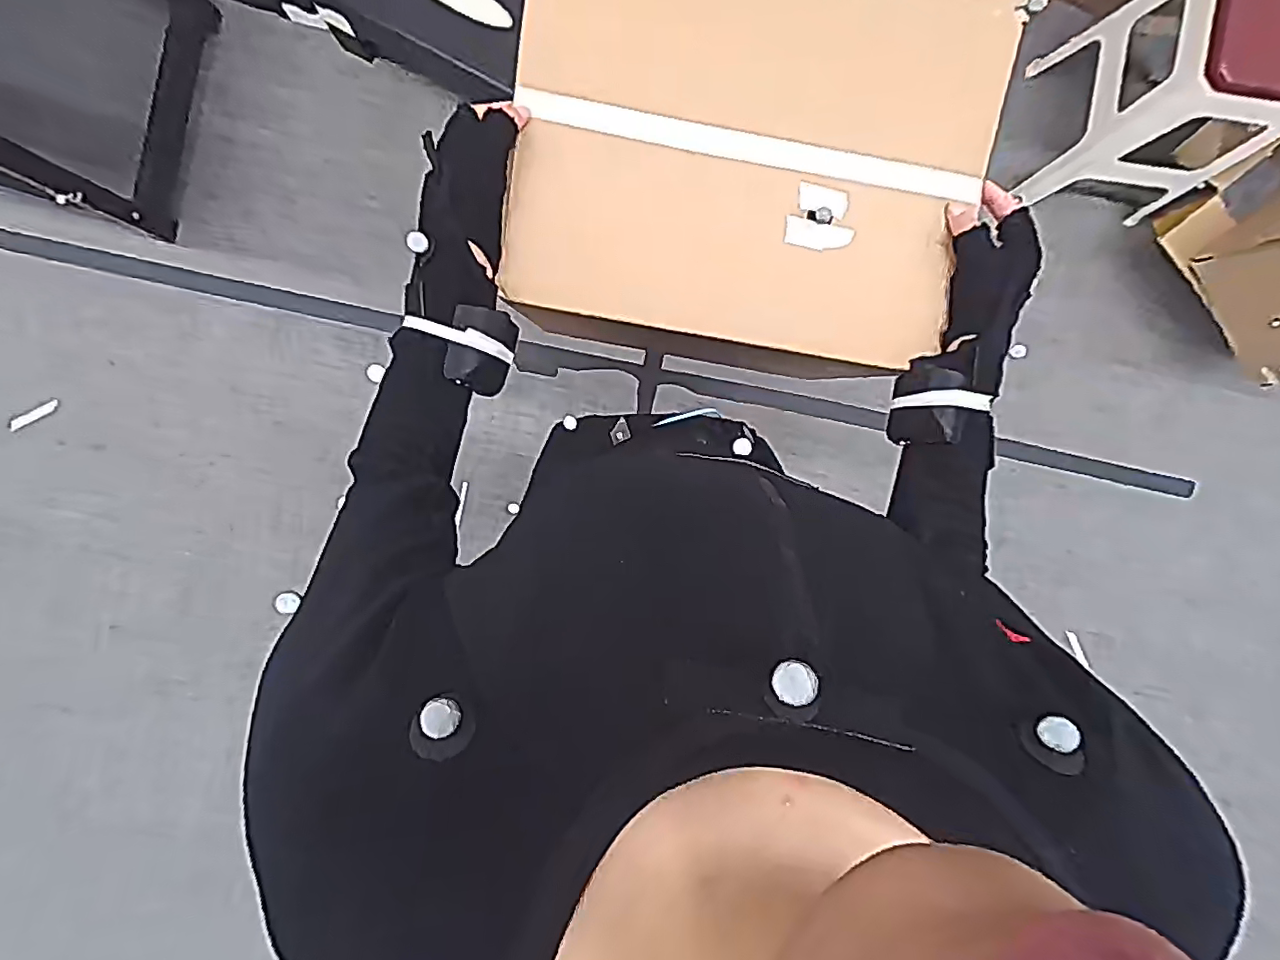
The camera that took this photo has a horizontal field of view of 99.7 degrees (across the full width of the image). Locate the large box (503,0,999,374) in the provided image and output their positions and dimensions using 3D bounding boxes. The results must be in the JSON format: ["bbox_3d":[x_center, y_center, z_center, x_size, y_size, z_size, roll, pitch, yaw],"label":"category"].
[{"bbox_3d":[0.085,-0.309,0.622,0.408,0.320,0.320,9,100,-5],"label":"large box"}]
